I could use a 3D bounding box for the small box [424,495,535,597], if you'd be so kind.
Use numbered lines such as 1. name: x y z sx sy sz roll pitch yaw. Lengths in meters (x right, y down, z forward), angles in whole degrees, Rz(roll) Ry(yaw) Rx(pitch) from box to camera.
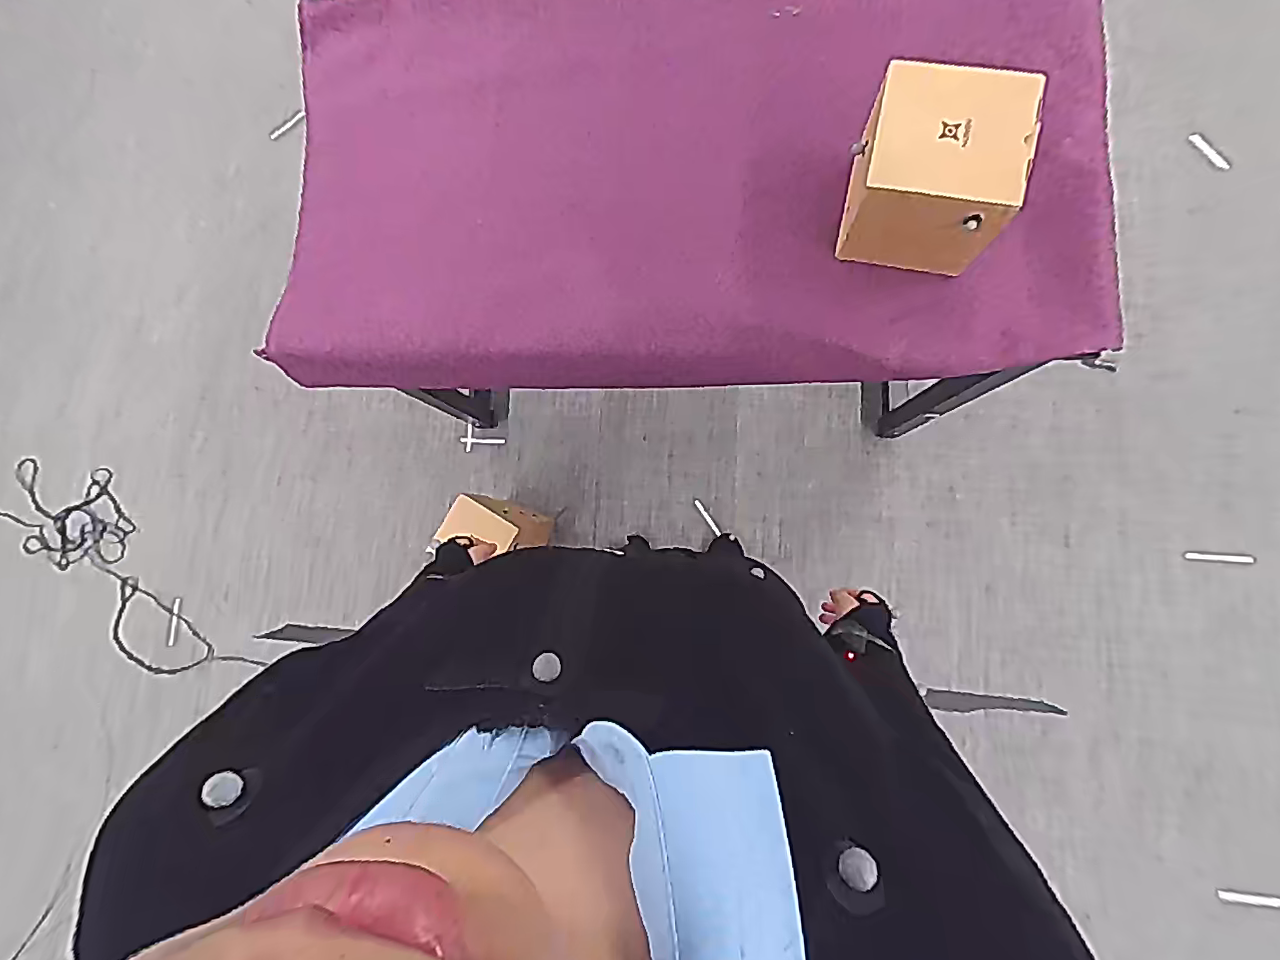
1. small box: -0.373 0.154 1.299 0.168 0.176 0.179 30 89 8

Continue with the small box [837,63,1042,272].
1. small box: 0.374 -0.395 0.708 0.179 0.176 0.168 12 85 8
